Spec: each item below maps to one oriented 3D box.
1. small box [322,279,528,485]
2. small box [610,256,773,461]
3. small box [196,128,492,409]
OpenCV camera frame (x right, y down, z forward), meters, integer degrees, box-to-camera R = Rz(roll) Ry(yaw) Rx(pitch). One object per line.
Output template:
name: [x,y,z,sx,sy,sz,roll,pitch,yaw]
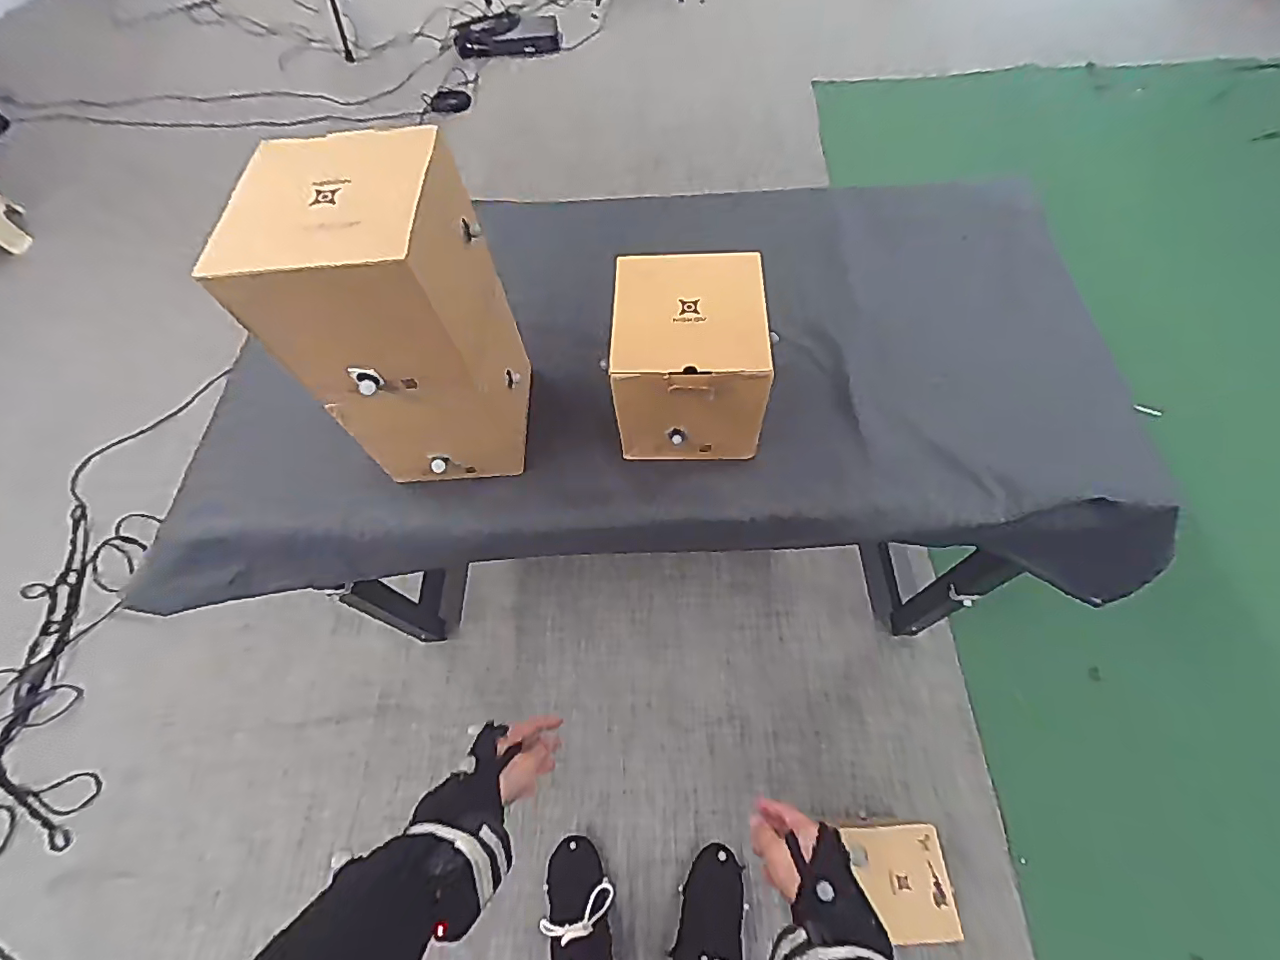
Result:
small box: [-0.236,-0.112,0.648,0.168,0.176,0.179,-4,62,2]
small box: [0.056,-0.140,0.646,0.168,0.176,0.179,-1,62,3]
small box: [-0.246,-0.188,0.505,0.168,0.176,0.179,-5,62,3]
